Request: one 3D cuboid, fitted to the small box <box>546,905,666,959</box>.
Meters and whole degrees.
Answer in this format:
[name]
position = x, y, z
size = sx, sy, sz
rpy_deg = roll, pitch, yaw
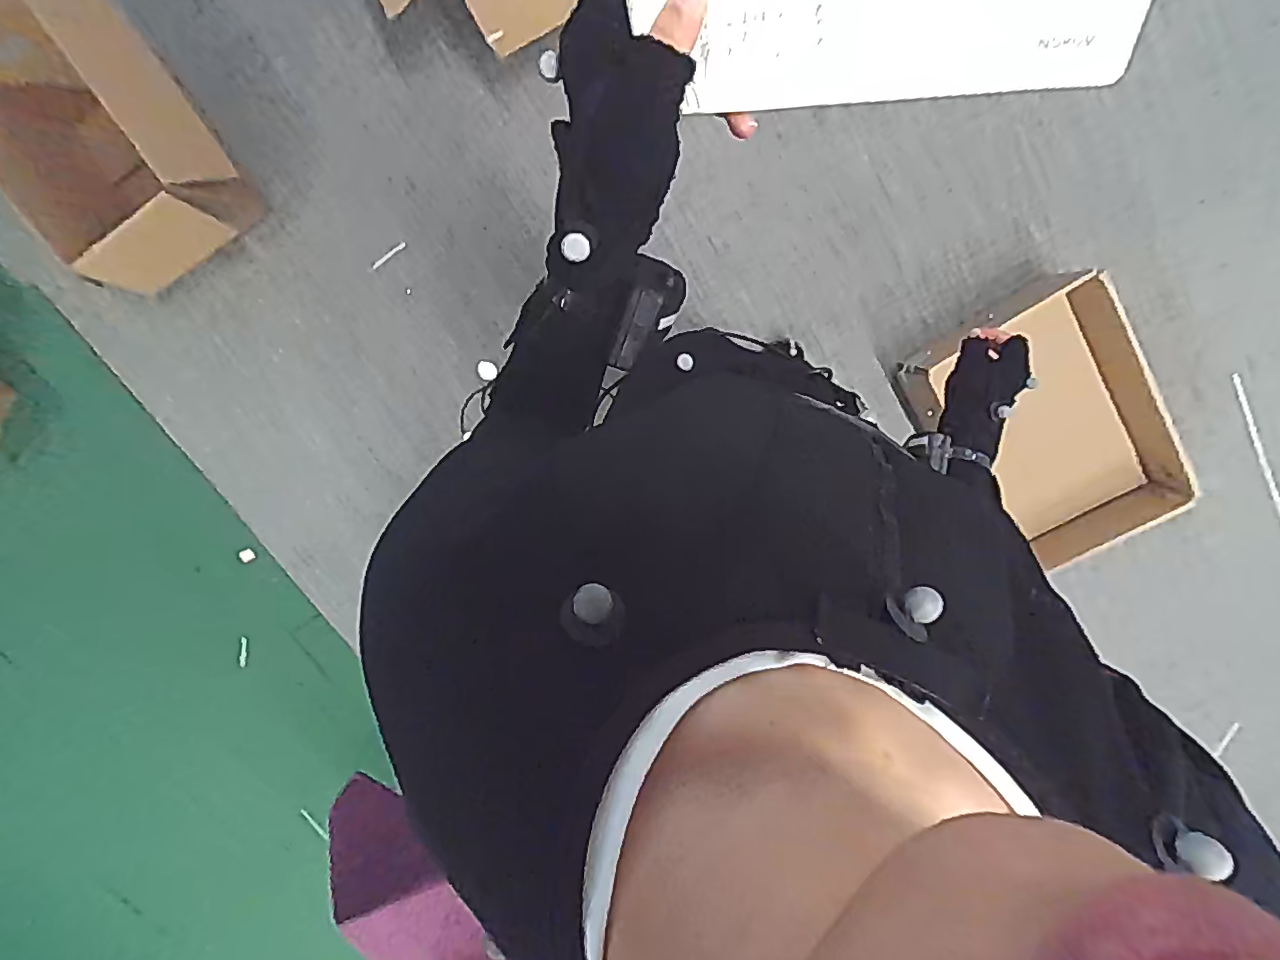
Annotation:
[small box]
position = -0.064, 0.900, 0.958
size = 0.168, 0.176, 0.179
rpy_deg = -31, 104, 12
